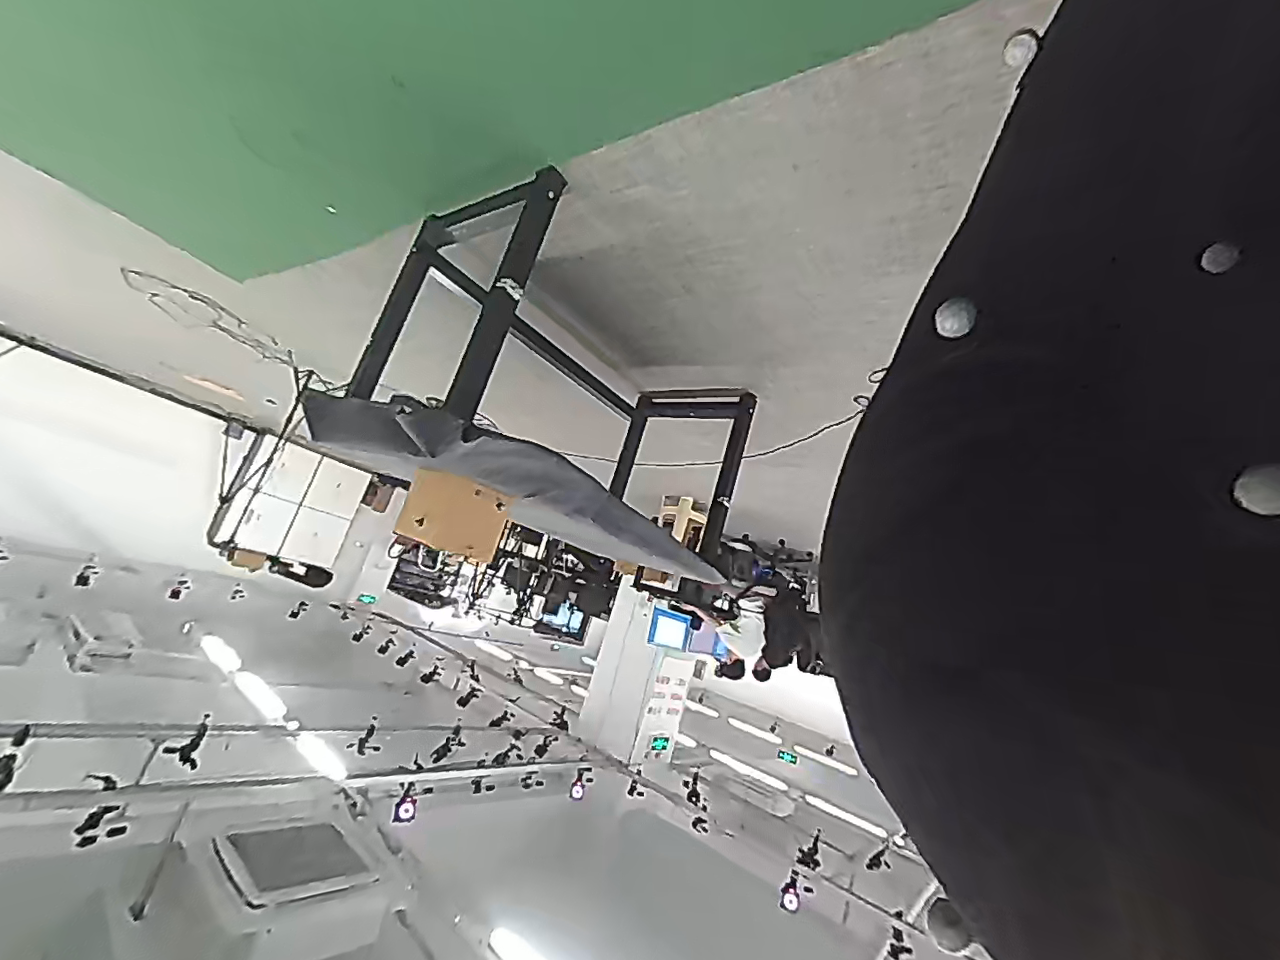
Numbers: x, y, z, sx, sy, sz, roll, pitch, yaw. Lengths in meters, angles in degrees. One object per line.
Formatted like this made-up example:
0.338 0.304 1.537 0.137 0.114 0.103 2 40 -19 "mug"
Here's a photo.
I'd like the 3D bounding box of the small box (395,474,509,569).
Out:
-0.431 0.094 1.265 0.179 0.176 0.168 9 165 39 "small box"
